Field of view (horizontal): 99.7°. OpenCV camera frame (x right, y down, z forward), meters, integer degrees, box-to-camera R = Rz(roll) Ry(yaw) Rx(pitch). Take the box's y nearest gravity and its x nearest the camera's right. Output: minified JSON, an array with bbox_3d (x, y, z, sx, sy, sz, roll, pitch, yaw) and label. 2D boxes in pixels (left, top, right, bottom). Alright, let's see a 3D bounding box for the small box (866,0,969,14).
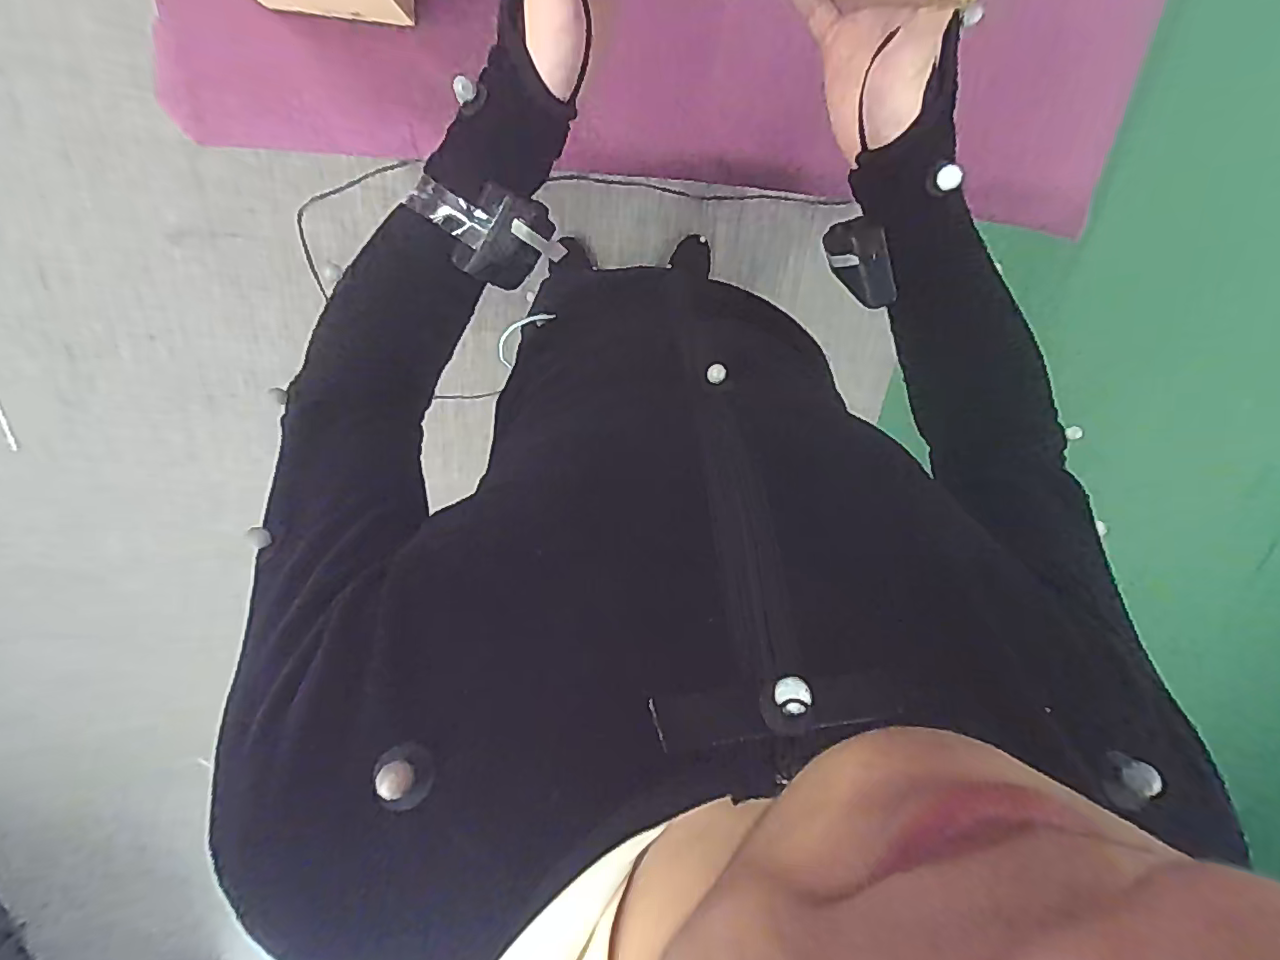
[{"bbox_3d":[0.082,-0.335,0.229,0.179,0.176,0.168,11,130,-11],"label":"small box"}]
